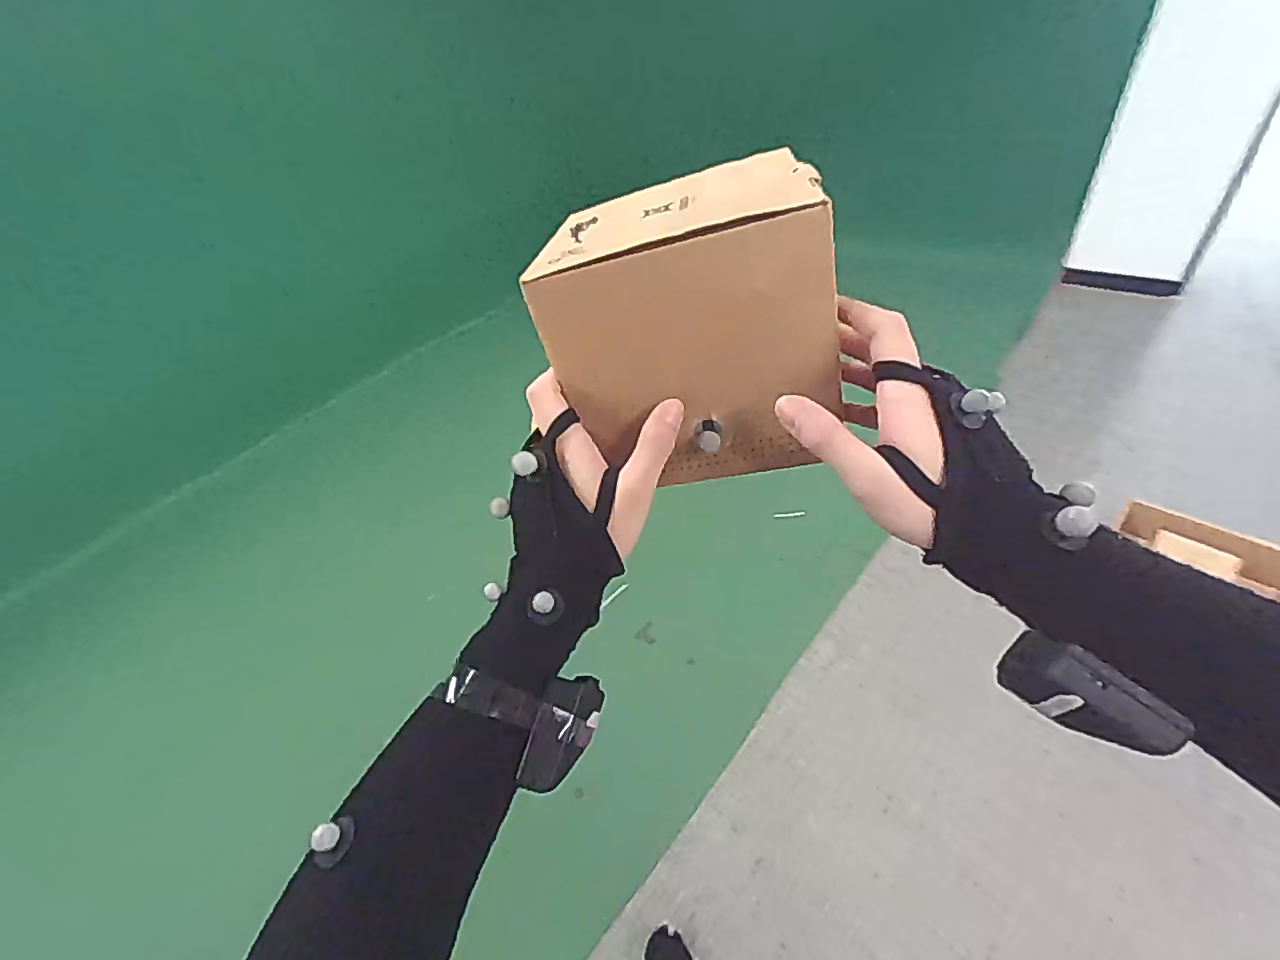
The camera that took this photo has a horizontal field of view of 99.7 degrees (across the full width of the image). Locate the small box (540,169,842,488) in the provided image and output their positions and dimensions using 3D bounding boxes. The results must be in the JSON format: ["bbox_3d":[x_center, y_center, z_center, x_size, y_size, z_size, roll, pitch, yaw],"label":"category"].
[{"bbox_3d":[0.050,-0.112,0.414,0.179,0.176,0.168,-7,36,14],"label":"small box"}]

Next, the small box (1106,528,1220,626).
[{"bbox_3d":[1.461,0.275,1.521,0.168,0.176,0.179,30,60,35],"label":"small box"}]
